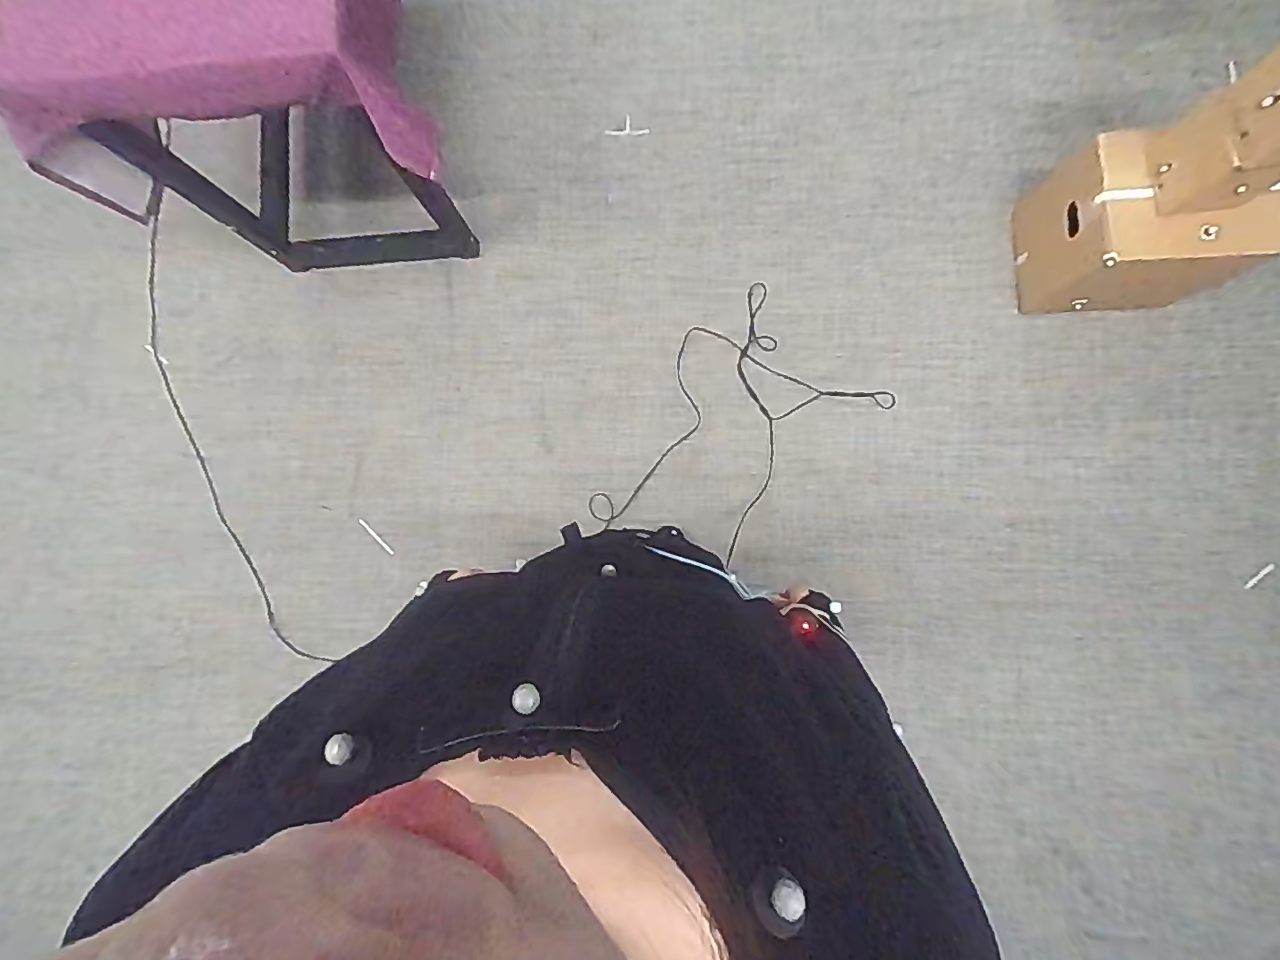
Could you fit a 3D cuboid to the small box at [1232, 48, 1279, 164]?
[{"bbox_3d":[1.235,-0.704,0.970,0.179,0.176,0.168,-9,84,2],"label":"small box"}]
